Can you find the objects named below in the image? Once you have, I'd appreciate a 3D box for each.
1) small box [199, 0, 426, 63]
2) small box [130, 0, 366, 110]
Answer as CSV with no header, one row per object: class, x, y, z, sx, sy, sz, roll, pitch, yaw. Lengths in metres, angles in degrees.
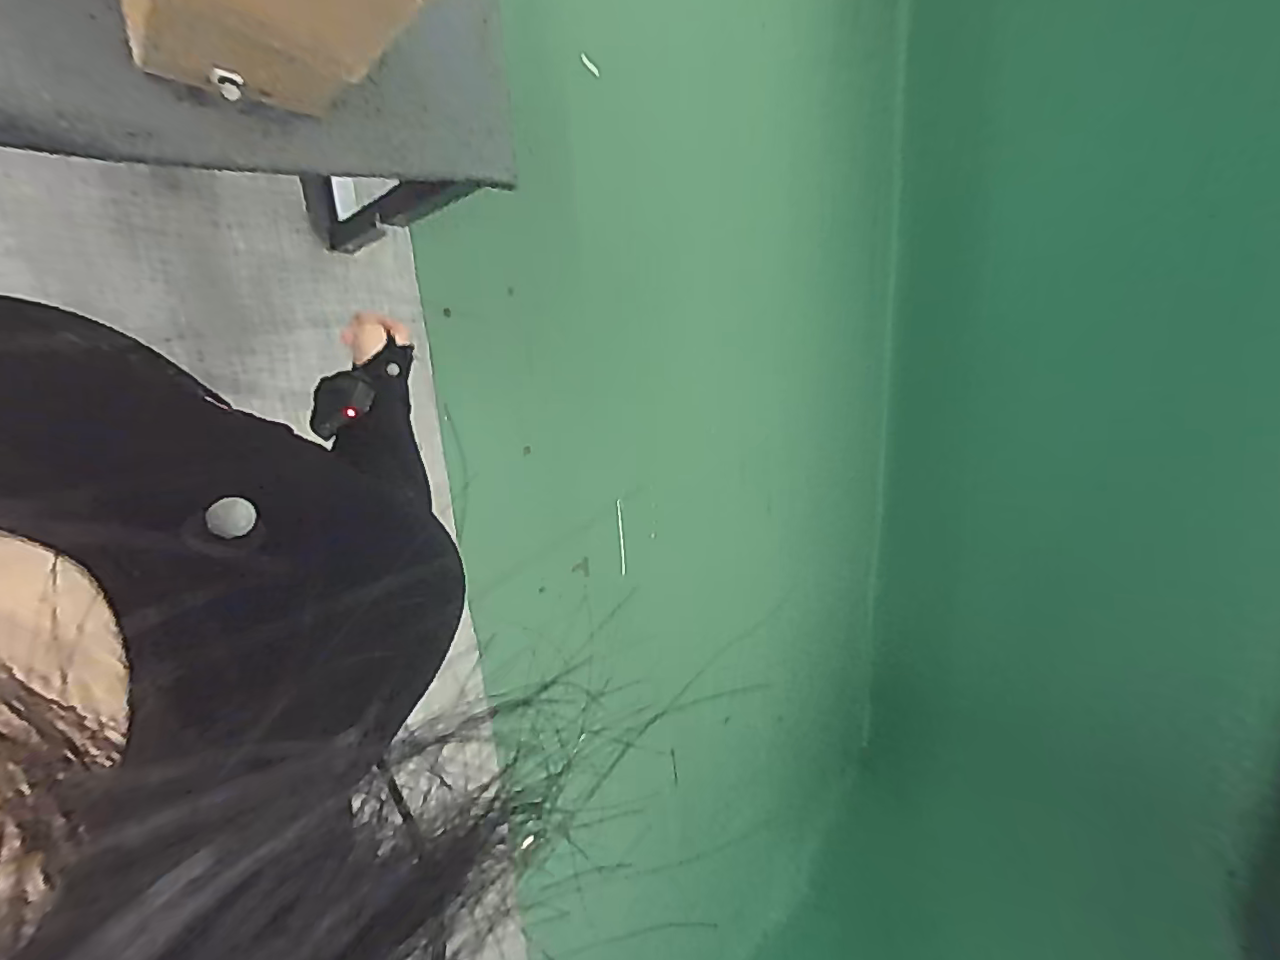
small box,-0.272,-0.462,0.407,0.179,0.176,0.168,0,98,-43
small box,-0.386,-0.498,0.518,0.168,0.176,0.179,-14,108,-41
